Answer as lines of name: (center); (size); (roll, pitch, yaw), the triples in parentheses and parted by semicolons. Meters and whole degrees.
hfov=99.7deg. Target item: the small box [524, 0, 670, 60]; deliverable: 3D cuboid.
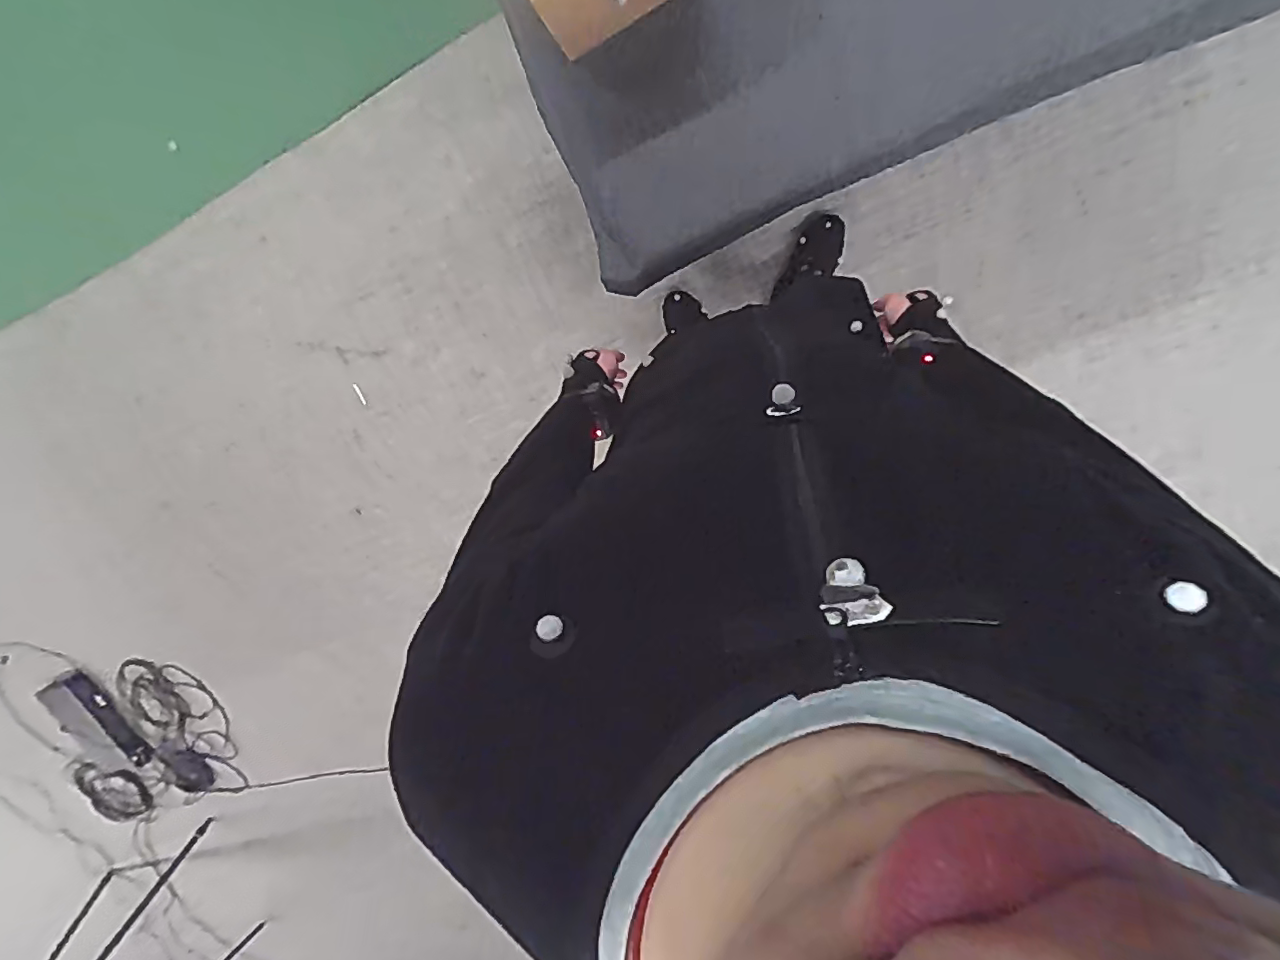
small box: (-0.052, -0.568, 0.531); (0.179, 0.176, 0.168); (-22, 108, 15)
